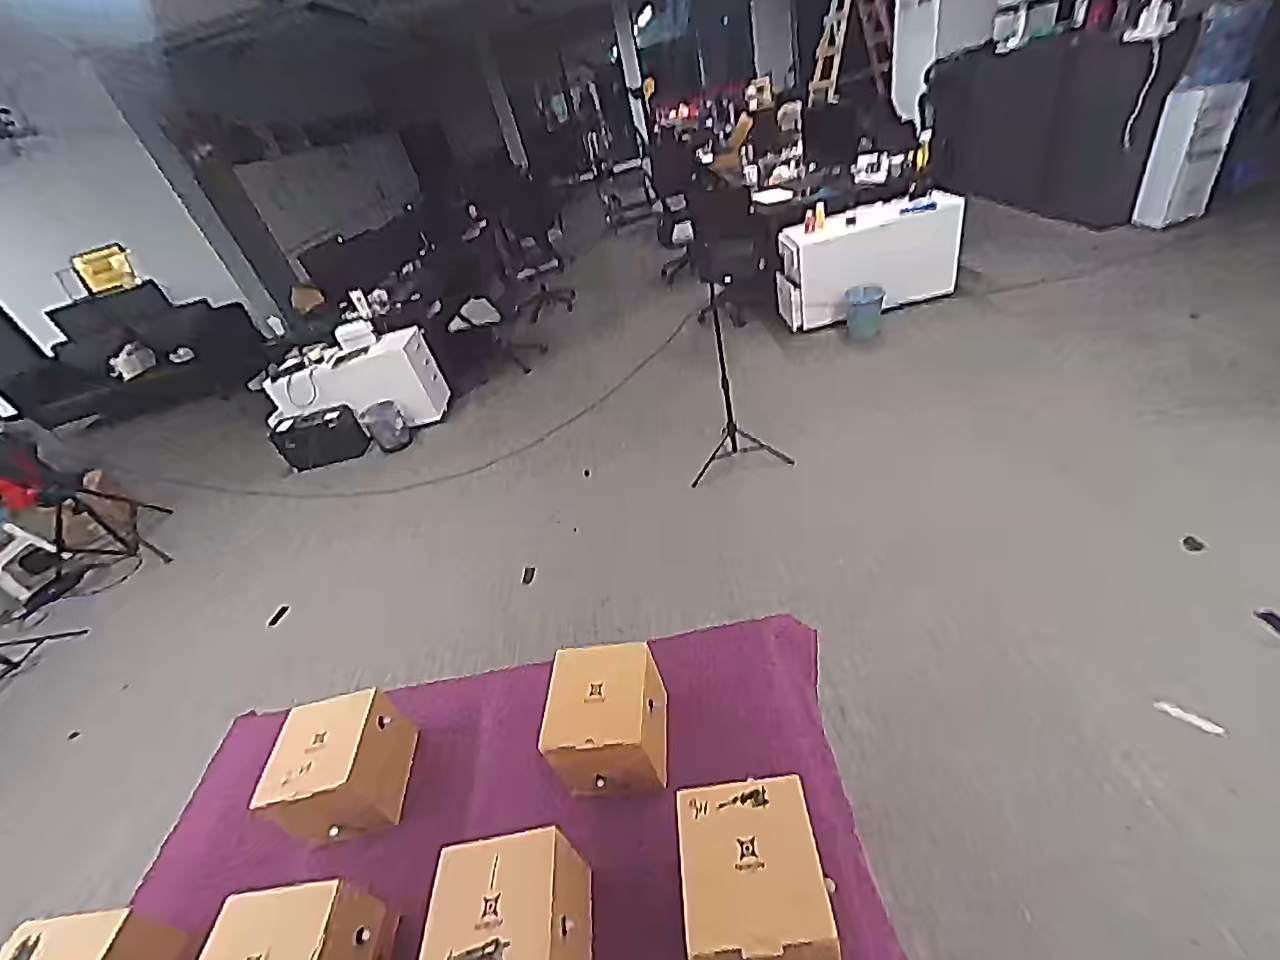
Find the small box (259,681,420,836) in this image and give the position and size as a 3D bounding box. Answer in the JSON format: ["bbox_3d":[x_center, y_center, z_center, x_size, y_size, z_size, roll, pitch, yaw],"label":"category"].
[{"bbox_3d":[-0.520,0.499,0.971,0.168,0.176,0.179,-15,36,3],"label":"small box"}]

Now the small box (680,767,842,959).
[{"bbox_3d":[0.152,0.502,0.692,0.168,0.176,0.179,-11,35,8],"label":"small box"}]

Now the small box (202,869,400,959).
[{"bbox_3d":[-0.459,0.659,0.732,0.179,0.176,0.168,-12,36,6],"label":"small box"}]

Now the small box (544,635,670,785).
[{"bbox_3d":[-0.046,0.393,0.924,0.168,0.176,0.179,-9,38,11],"label":"small box"}]

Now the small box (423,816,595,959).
[{"bbox_3d":[-0.159,0.584,0.712,0.168,0.176,0.179,-13,35,4],"label":"small box"}]
